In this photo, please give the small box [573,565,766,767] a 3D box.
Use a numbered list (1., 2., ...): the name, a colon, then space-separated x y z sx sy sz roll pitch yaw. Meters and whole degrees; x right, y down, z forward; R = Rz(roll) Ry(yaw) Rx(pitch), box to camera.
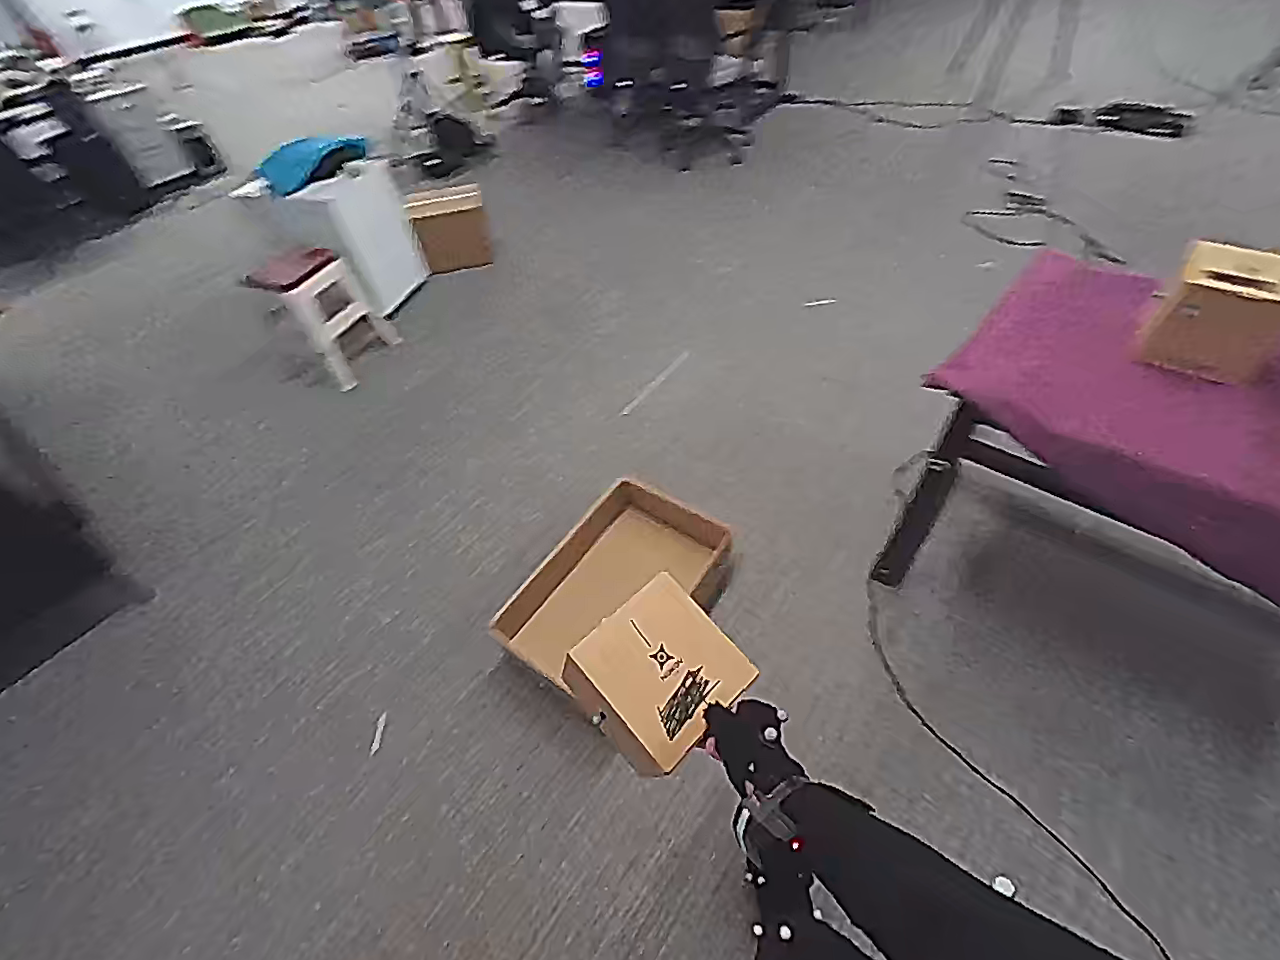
1. small box: 0.028 0.249 0.715 0.168 0.176 0.179 -34 71 -26
